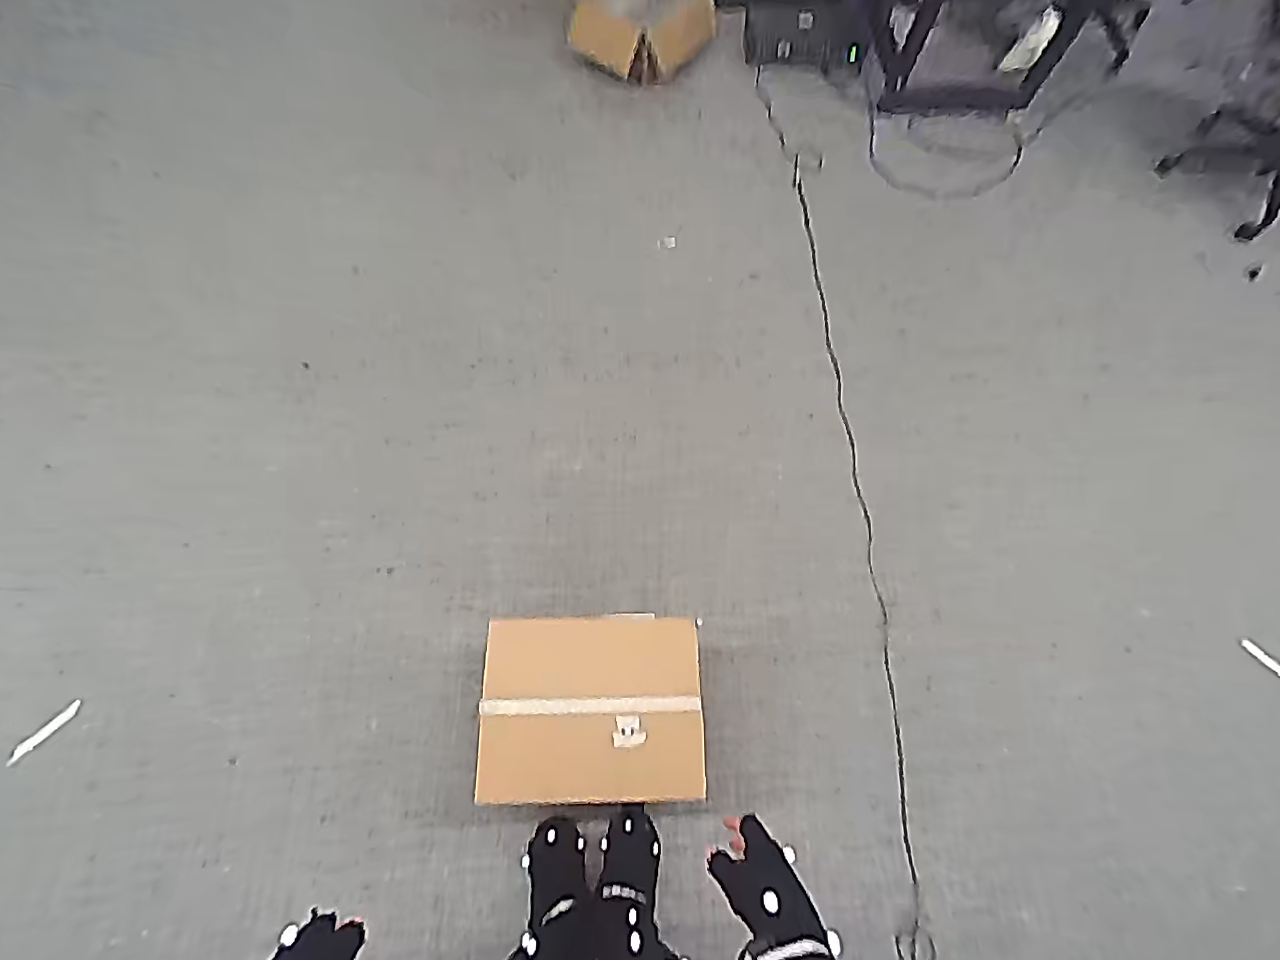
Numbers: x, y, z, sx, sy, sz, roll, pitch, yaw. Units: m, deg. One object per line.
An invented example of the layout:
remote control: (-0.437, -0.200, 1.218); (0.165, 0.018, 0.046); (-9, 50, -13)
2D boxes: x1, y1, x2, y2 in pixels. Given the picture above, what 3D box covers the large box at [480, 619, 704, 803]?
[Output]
large box: (-0.097, 0.479, 1.146); (0.408, 0.320, 0.320); (0, 68, -3)
